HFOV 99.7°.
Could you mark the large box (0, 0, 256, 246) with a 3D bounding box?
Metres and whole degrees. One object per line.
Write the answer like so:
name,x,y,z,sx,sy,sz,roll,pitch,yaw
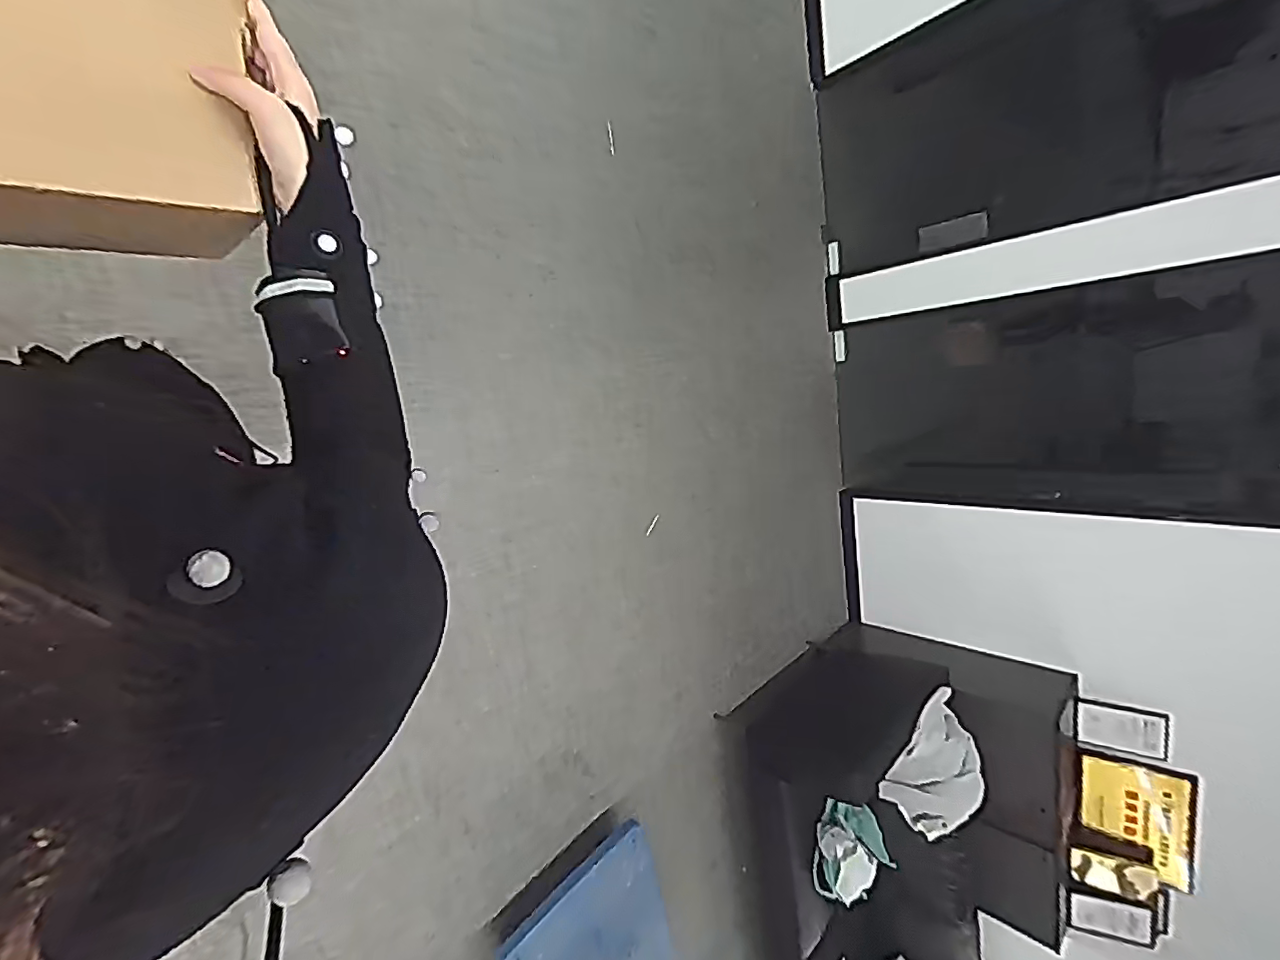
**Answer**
large box,-0.549,-0.349,0.368,0.408,0.320,0.320,-14,110,-39
